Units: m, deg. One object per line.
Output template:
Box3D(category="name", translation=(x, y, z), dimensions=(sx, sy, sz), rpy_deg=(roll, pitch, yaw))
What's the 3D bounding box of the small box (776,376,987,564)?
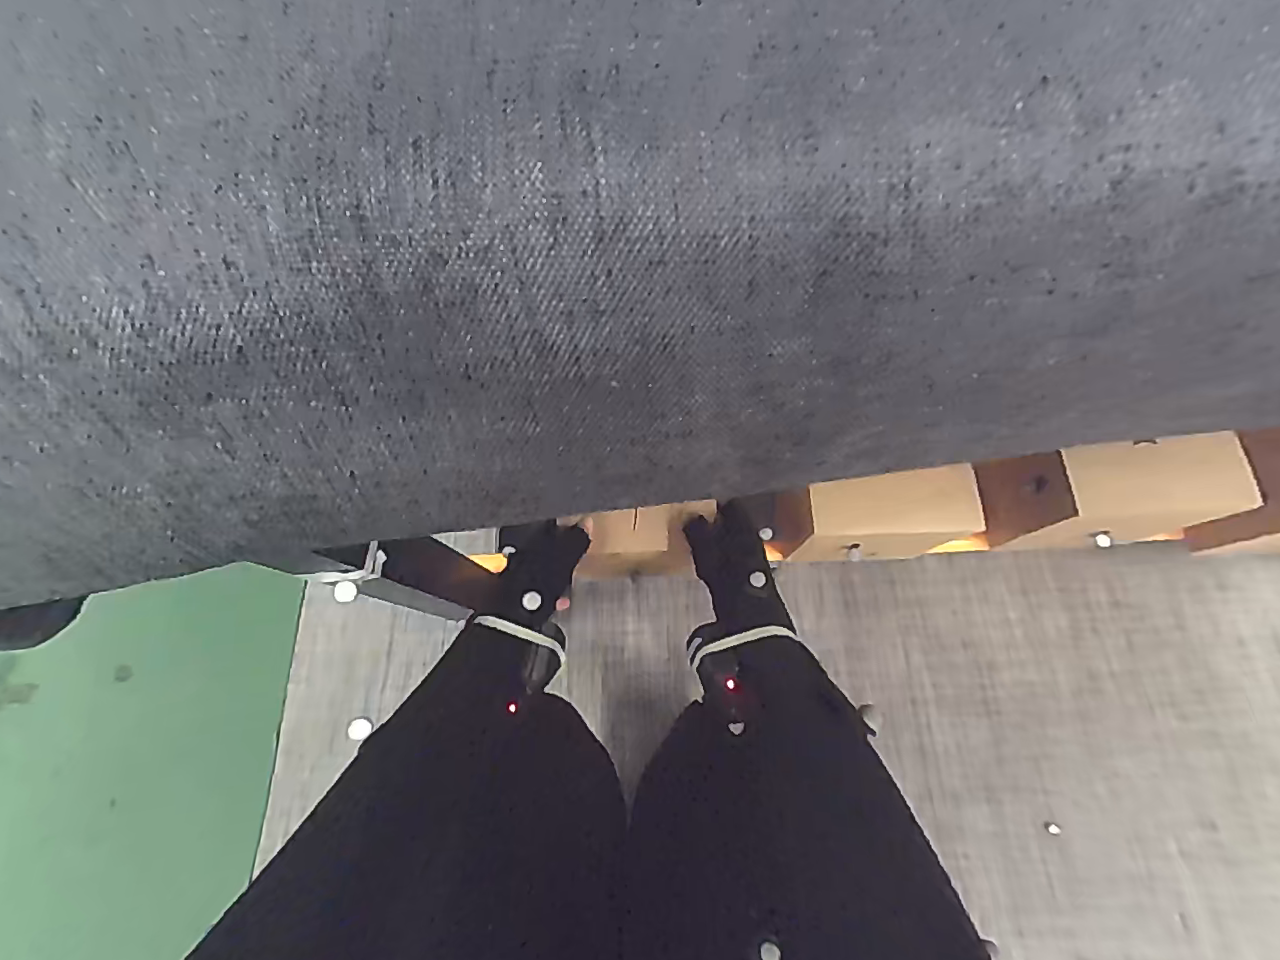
Box3D(category="small box", translation=(0.260, 0.001, 0.629), dimensions=(0.168, 0.176, 0.179), rpy_deg=(-3, 70, 4))
